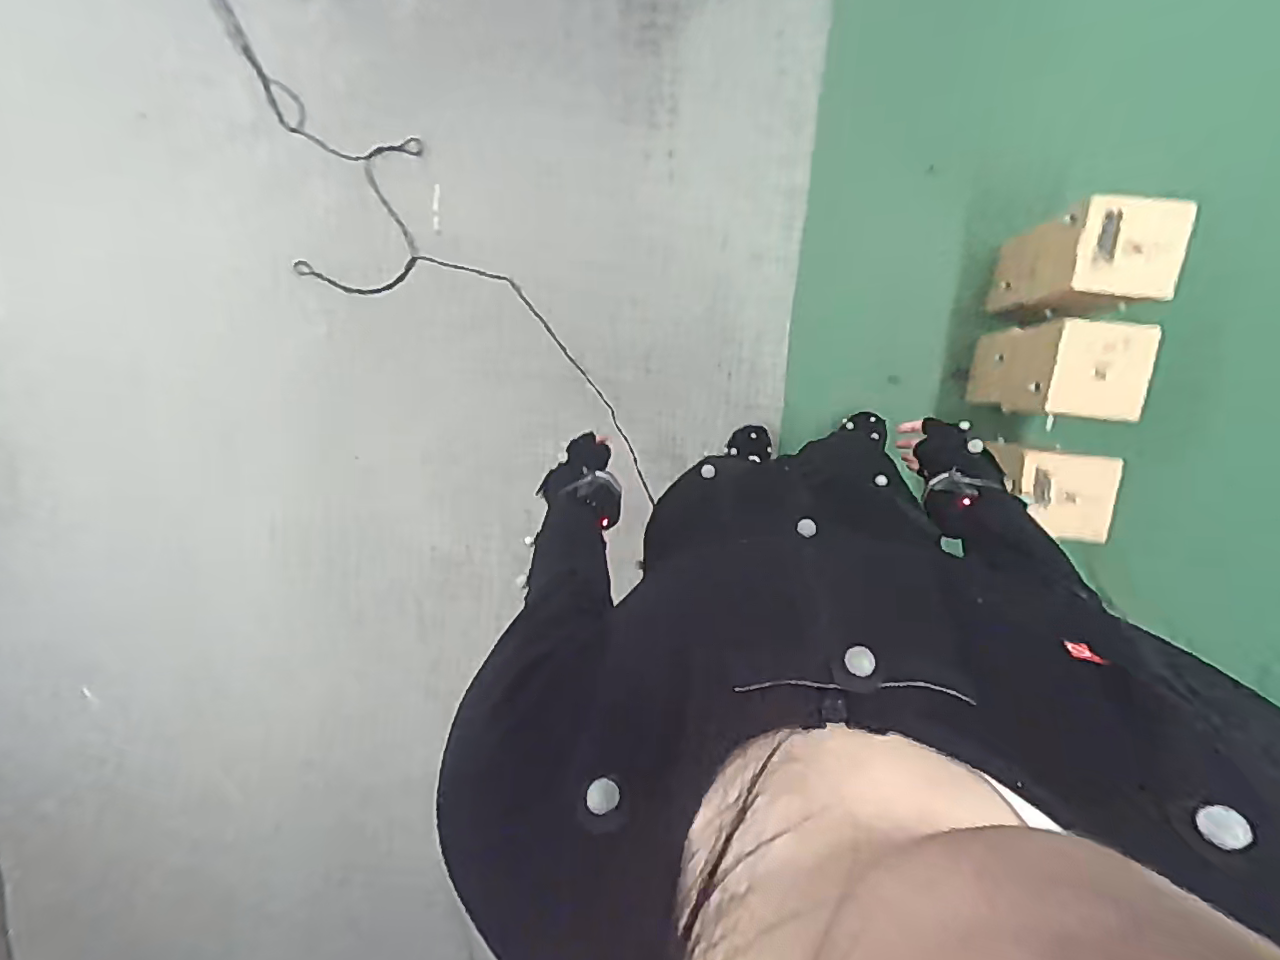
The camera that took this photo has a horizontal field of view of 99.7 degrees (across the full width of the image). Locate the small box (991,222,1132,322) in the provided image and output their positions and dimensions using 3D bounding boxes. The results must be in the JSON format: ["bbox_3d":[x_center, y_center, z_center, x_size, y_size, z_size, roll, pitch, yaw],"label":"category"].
[{"bbox_3d":[0.935,-0.461,1.221,0.179,0.176,0.168,11,100,8],"label":"small box"}]

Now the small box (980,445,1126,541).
[{"bbox_3d":[0.851,0.019,1.136,0.179,0.176,0.168,6,100,8],"label":"small box"}]

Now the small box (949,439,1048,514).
[{"bbox_3d":[0.878,-0.005,1.296,0.179,0.176,0.168,7,100,9],"label":"small box"}]
